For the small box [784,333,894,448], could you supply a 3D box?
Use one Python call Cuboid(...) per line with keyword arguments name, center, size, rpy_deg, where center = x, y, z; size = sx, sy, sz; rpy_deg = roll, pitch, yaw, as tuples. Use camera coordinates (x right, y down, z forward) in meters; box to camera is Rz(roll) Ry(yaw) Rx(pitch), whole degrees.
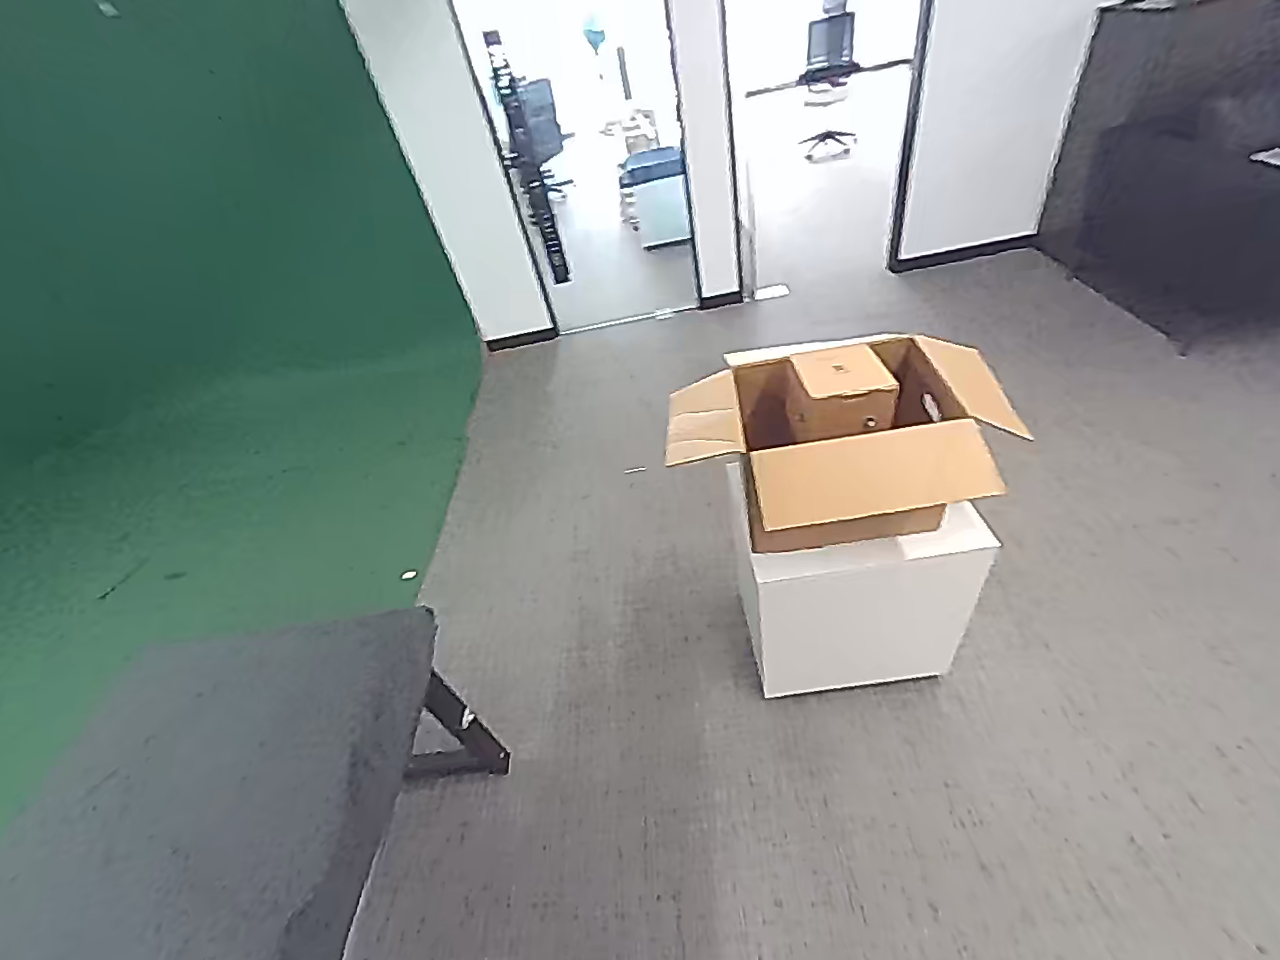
Cuboid(name="small box", center=(0.404, -0.179, 1.126), size=(0.168, 0.176, 0.179), rpy_deg=(-8, 41, 3))
